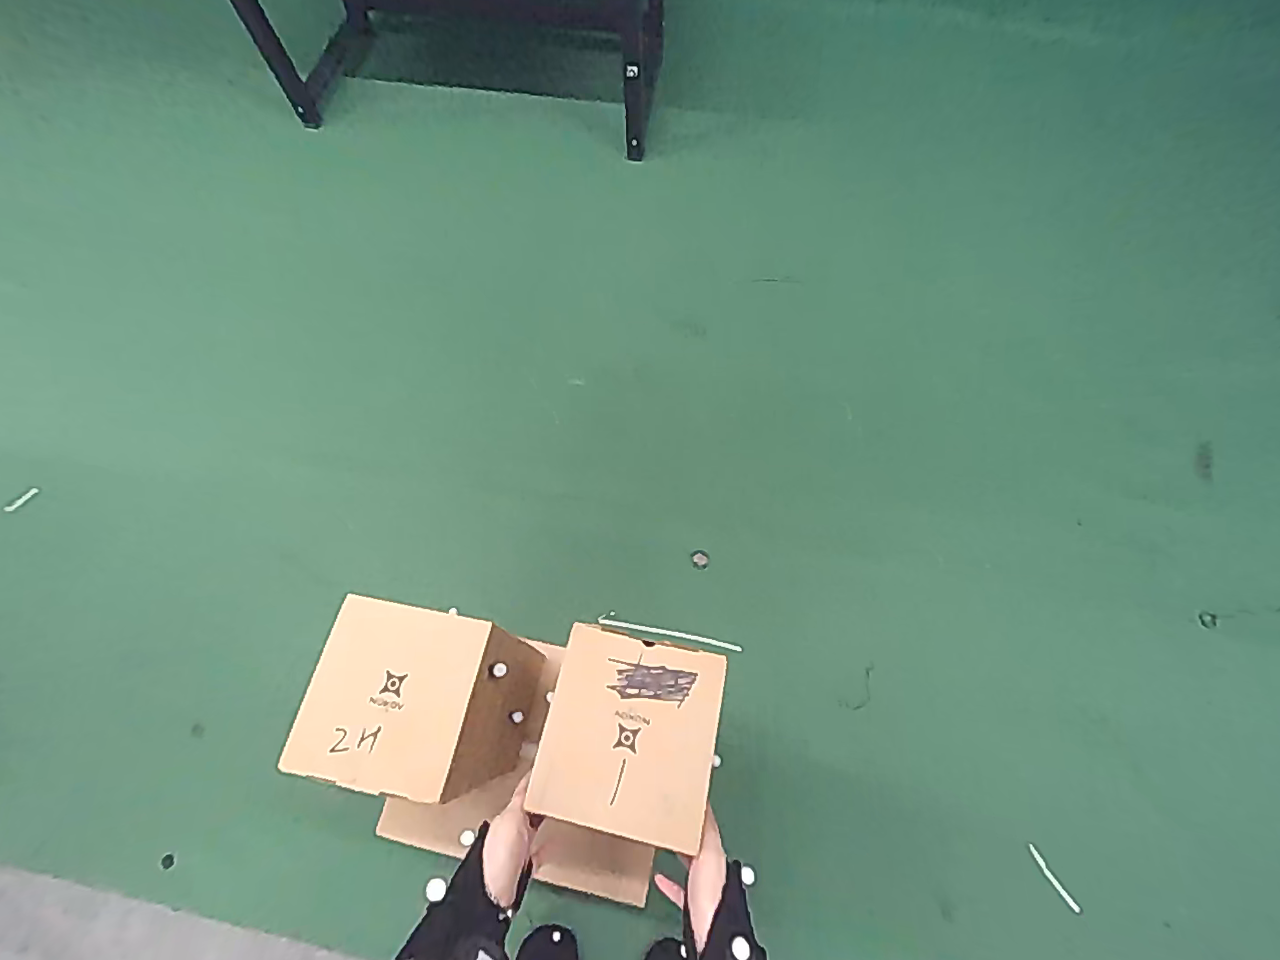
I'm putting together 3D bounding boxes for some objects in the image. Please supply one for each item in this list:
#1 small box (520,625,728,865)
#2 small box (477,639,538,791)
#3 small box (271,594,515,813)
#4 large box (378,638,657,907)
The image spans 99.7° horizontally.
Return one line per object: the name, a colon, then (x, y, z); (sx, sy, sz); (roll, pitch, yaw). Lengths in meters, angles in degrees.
small box: (-0.010, 0.277, 0.579); (0.168, 0.176, 0.179); (11, 63, 7)
small box: (-0.252, 0.312, 0.759); (0.168, 0.176, 0.179); (11, 66, 5)
small box: (-0.252, 0.247, 0.608); (0.168, 0.176, 0.179); (10, 66, 5)
large box: (-0.154, 0.477, 0.949); (0.408, 0.320, 0.320); (11, 67, 5)
